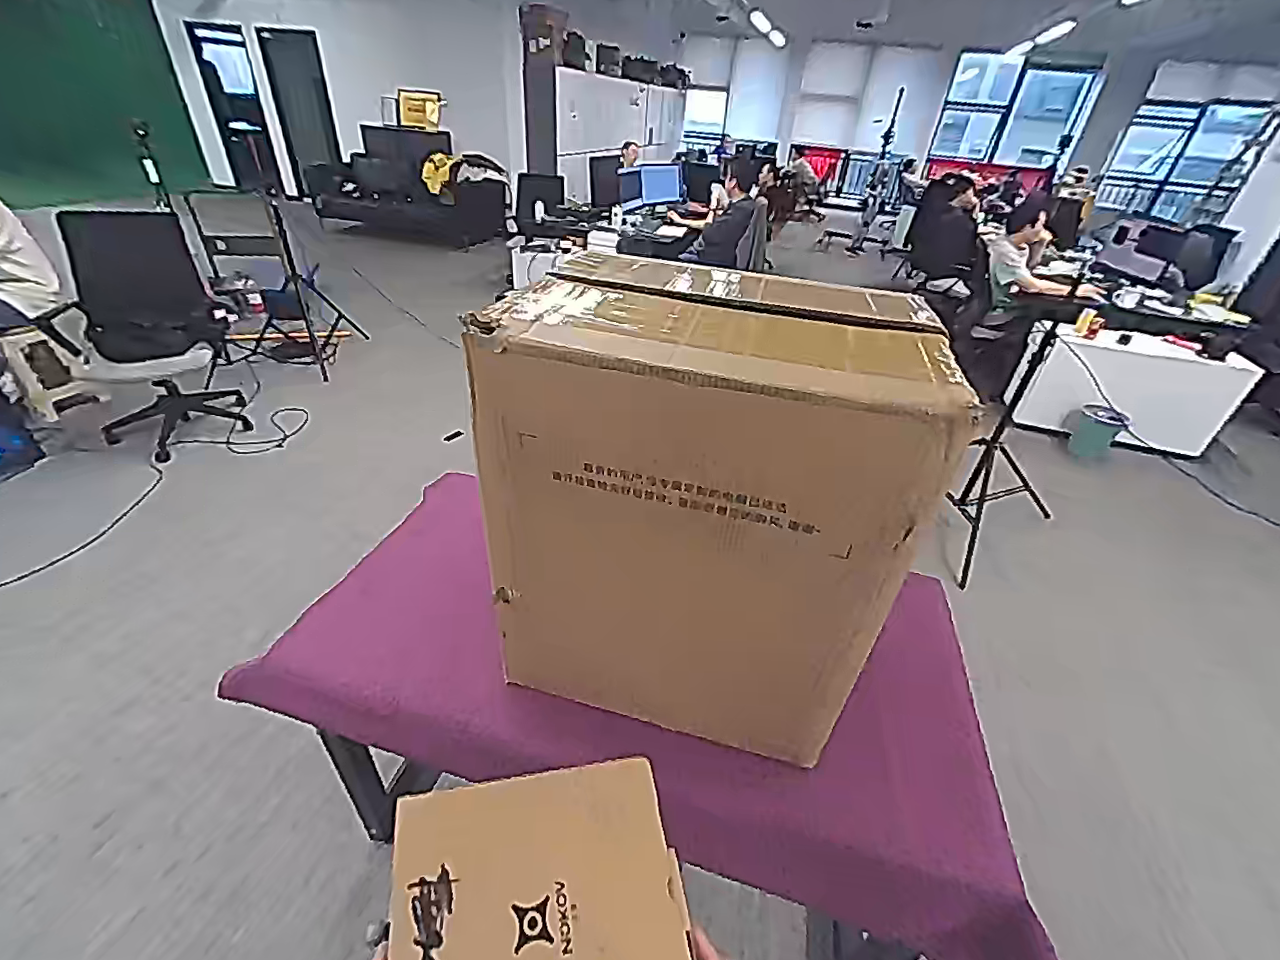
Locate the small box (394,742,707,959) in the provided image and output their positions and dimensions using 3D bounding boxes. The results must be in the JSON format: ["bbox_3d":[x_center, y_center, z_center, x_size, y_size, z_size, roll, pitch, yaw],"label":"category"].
[{"bbox_3d":[-0.074,0.306,0.375,0.179,0.176,0.168,2,44,-22],"label":"small box"}]
